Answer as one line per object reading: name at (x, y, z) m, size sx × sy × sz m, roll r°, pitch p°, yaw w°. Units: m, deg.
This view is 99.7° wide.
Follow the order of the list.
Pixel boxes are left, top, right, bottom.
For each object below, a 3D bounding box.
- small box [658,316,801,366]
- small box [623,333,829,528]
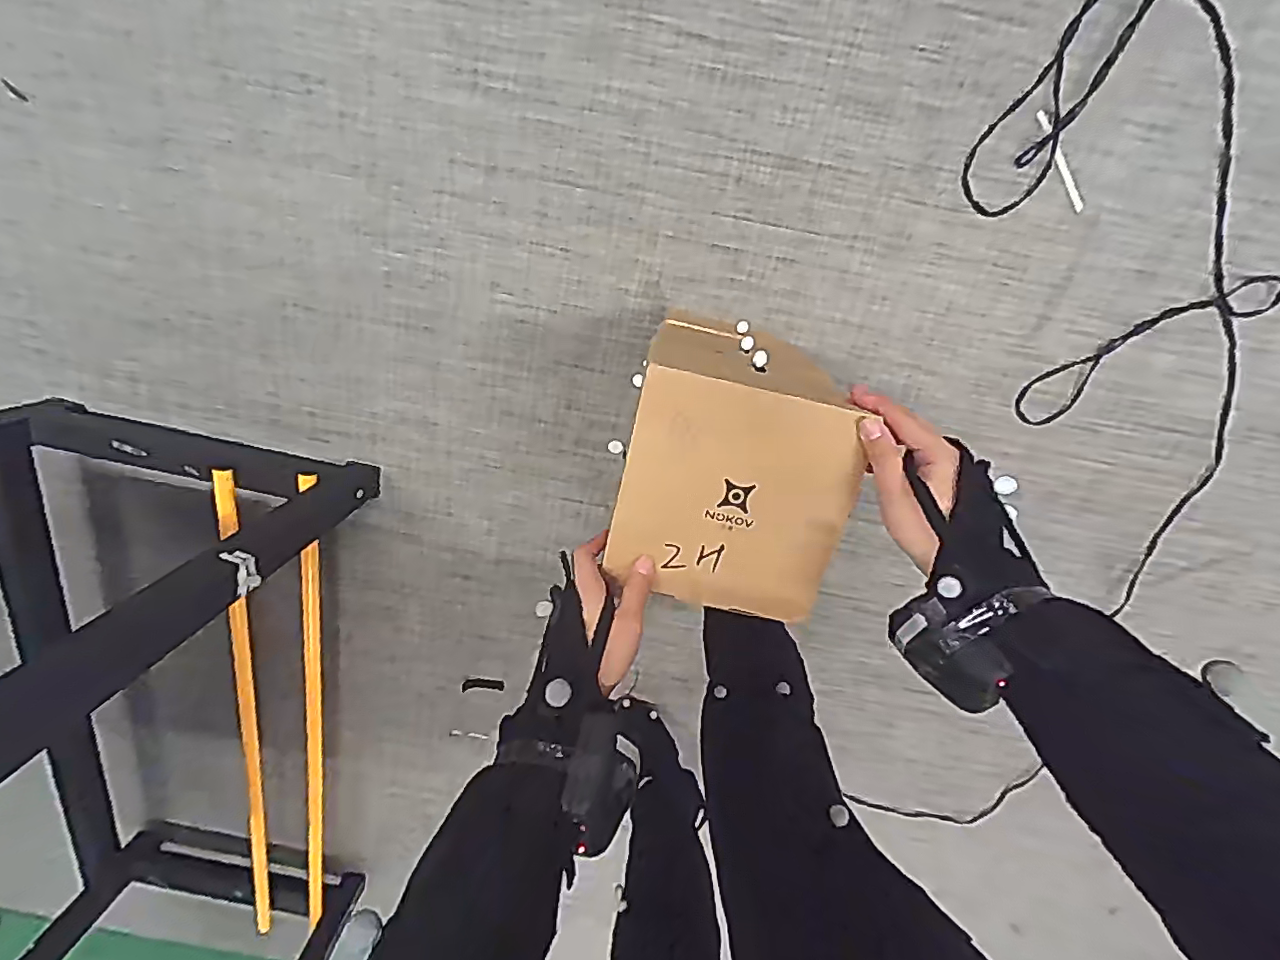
small box at (0.100, -0.129, 0.767) m, size 0.179 × 0.176 × 0.168 m, roll 14°, pitch 110°, yaw -3°
small box at (0.087, -0.067, 0.618) m, size 0.179 × 0.176 × 0.168 m, roll 12°, pitch 110°, yaw 0°
